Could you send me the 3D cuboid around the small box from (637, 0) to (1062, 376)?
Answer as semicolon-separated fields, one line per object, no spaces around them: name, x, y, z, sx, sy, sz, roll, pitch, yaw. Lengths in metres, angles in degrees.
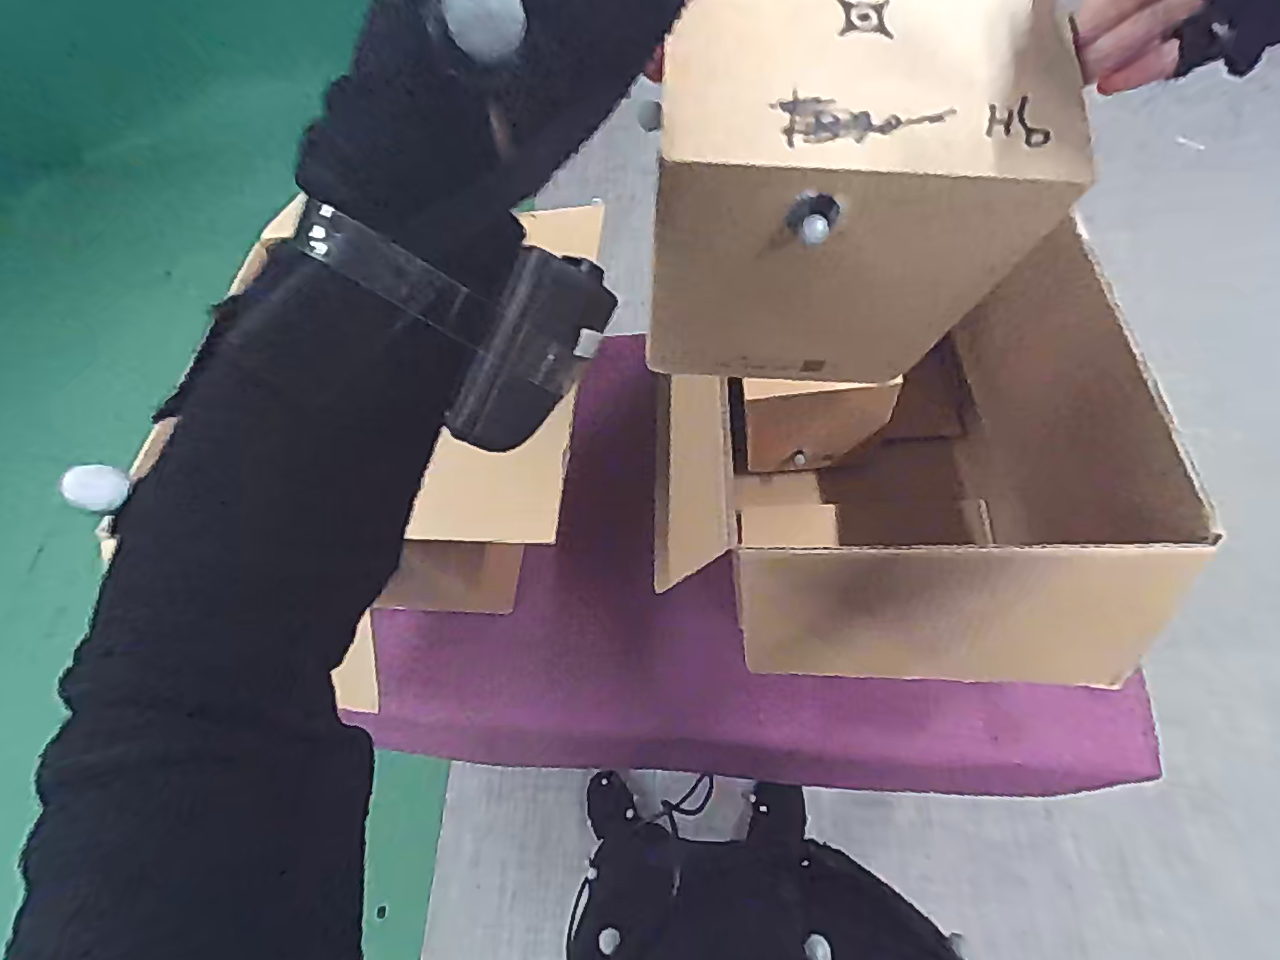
small box;0.085;-0.181;0.309;0.168;0.176;0.179;3;73;1
